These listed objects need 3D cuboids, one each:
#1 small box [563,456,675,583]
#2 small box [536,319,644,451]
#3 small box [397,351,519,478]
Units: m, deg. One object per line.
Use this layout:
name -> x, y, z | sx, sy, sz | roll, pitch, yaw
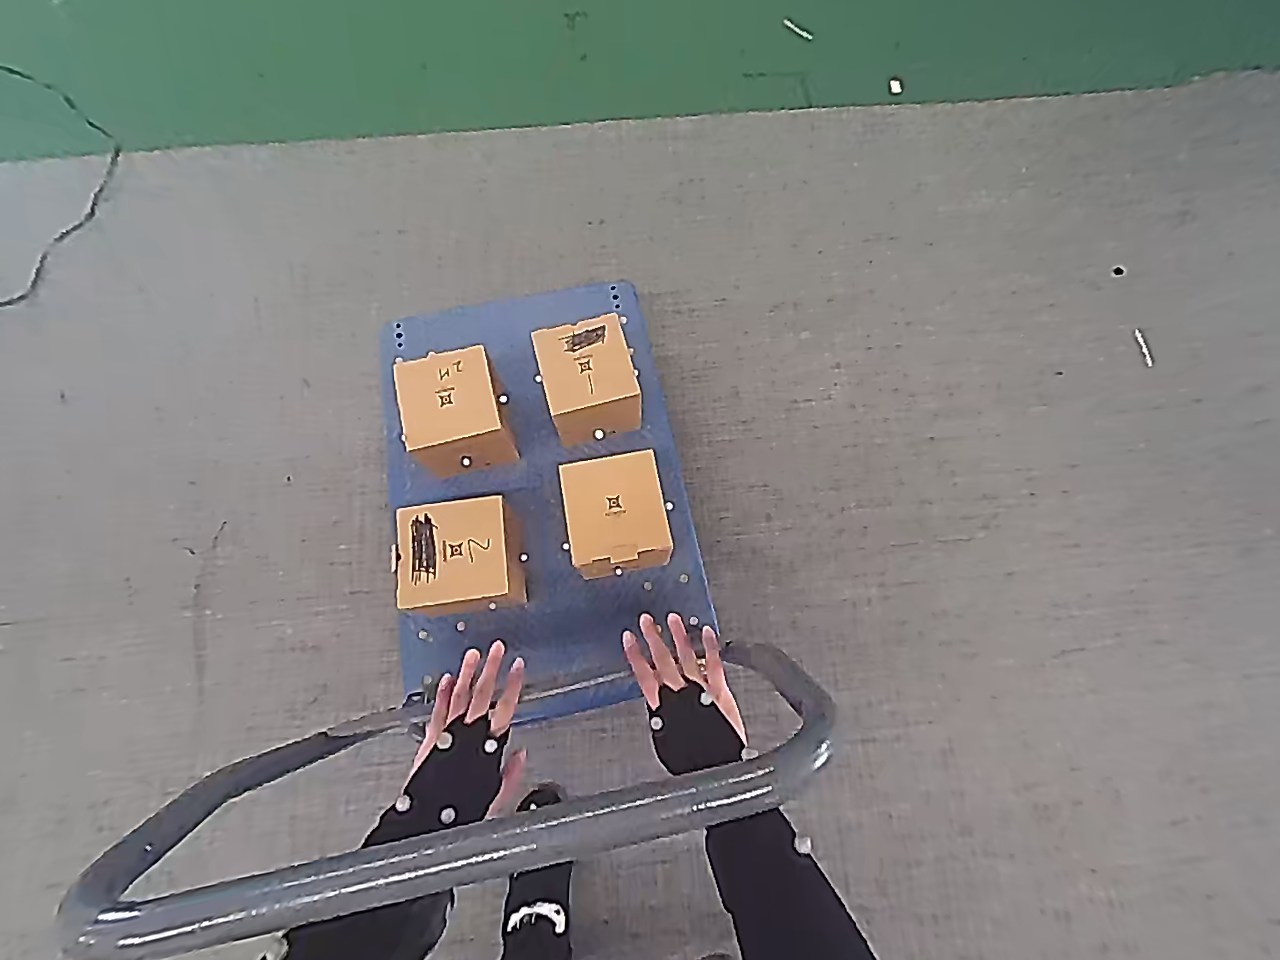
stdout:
small box -> -0.040, 0.076, 0.969 | 0.168, 0.176, 0.179 | -10, 73, -4
small box -> -0.094, -0.177, 1.048 | 0.168, 0.176, 0.179 | -14, 74, -4
small box -> -0.337, -0.113, 1.026 | 0.168, 0.176, 0.179 | -14, 73, -6
